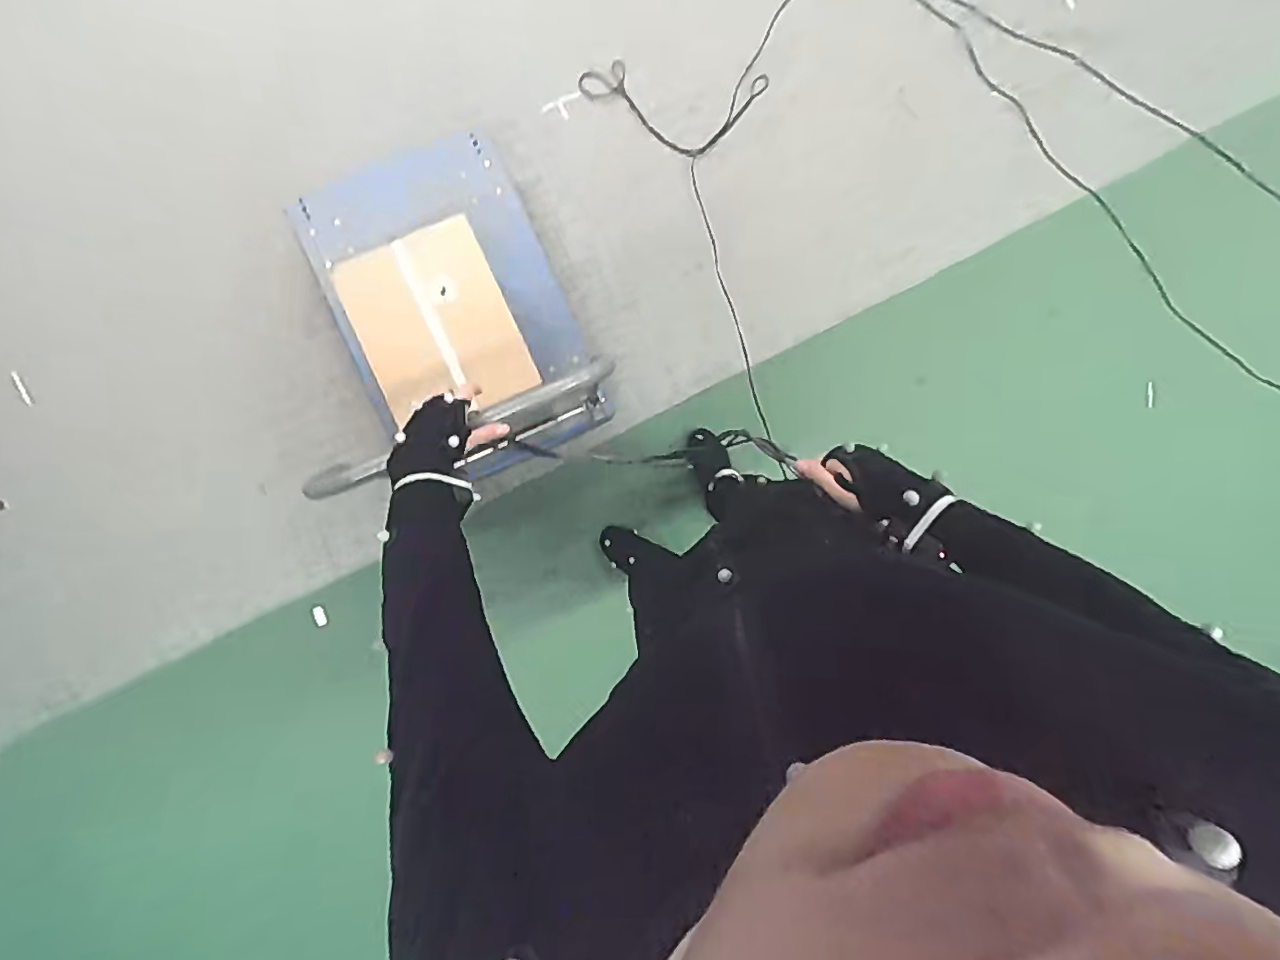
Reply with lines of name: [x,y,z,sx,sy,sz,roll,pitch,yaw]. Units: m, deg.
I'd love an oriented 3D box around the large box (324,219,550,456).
large box: [-0.447,-0.308,1.284,0.320,0.320,0.408,-25,90,-5]
